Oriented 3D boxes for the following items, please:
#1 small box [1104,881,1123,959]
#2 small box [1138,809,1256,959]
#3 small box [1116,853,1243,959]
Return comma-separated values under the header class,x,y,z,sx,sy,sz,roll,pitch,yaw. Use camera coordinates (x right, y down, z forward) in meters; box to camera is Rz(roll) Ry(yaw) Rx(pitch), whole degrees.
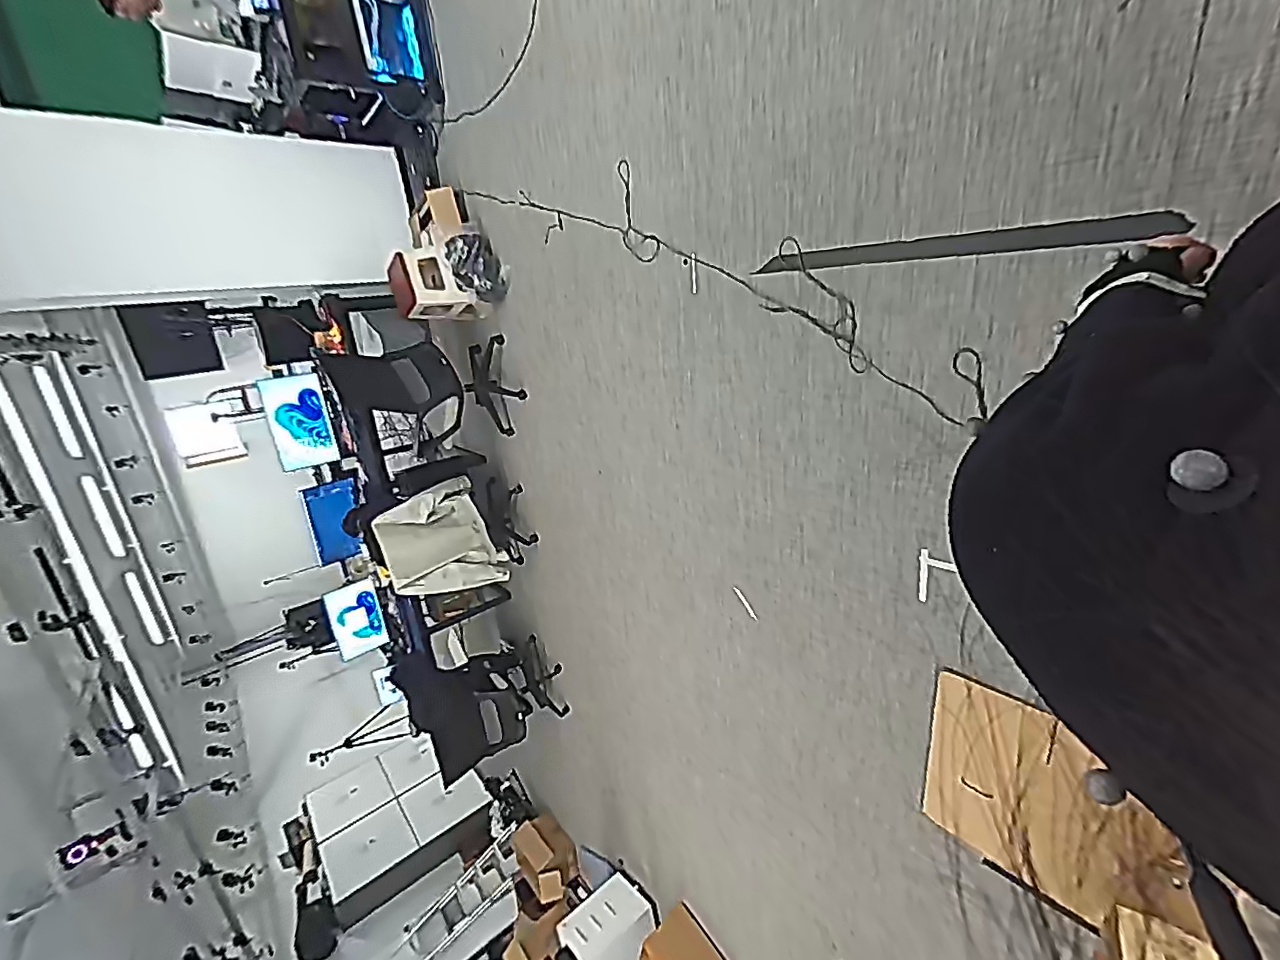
class,x,y,z,sx,sy,sz,roll,pitch,yaw
small box,1.255,1.144,1.313,0.168,0.176,0.179,4,109,51
small box,1.243,0.884,1.205,0.168,0.176,0.179,-3,103,53
small box,1.114,0.934,1.115,0.168,0.176,0.179,-3,104,51
